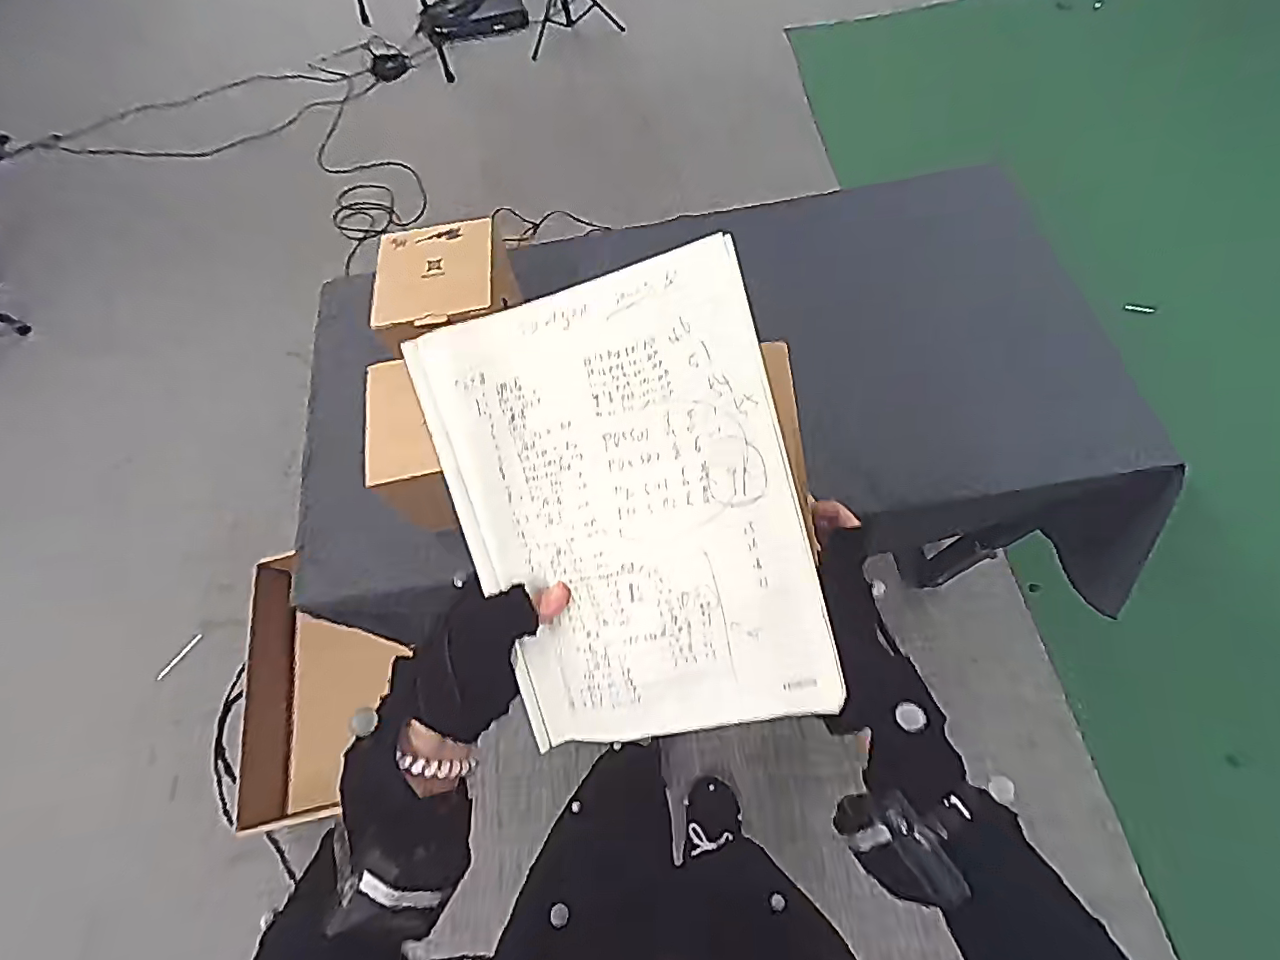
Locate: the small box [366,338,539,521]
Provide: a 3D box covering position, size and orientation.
[{"bbox_3d":[-0.240,-0.055,0.723,0.168,0.176,0.179,-12,65,0],"label":"small box"}]

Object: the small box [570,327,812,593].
[{"bbox_3d":[0.041,-0.005,0.466,0.168,0.176,0.179,-4,70,6],"label":"small box"}]

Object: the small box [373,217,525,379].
[{"bbox_3d":[-0.277,-0.258,0.821,0.168,0.176,0.179,-8,66,2],"label":"small box"}]
